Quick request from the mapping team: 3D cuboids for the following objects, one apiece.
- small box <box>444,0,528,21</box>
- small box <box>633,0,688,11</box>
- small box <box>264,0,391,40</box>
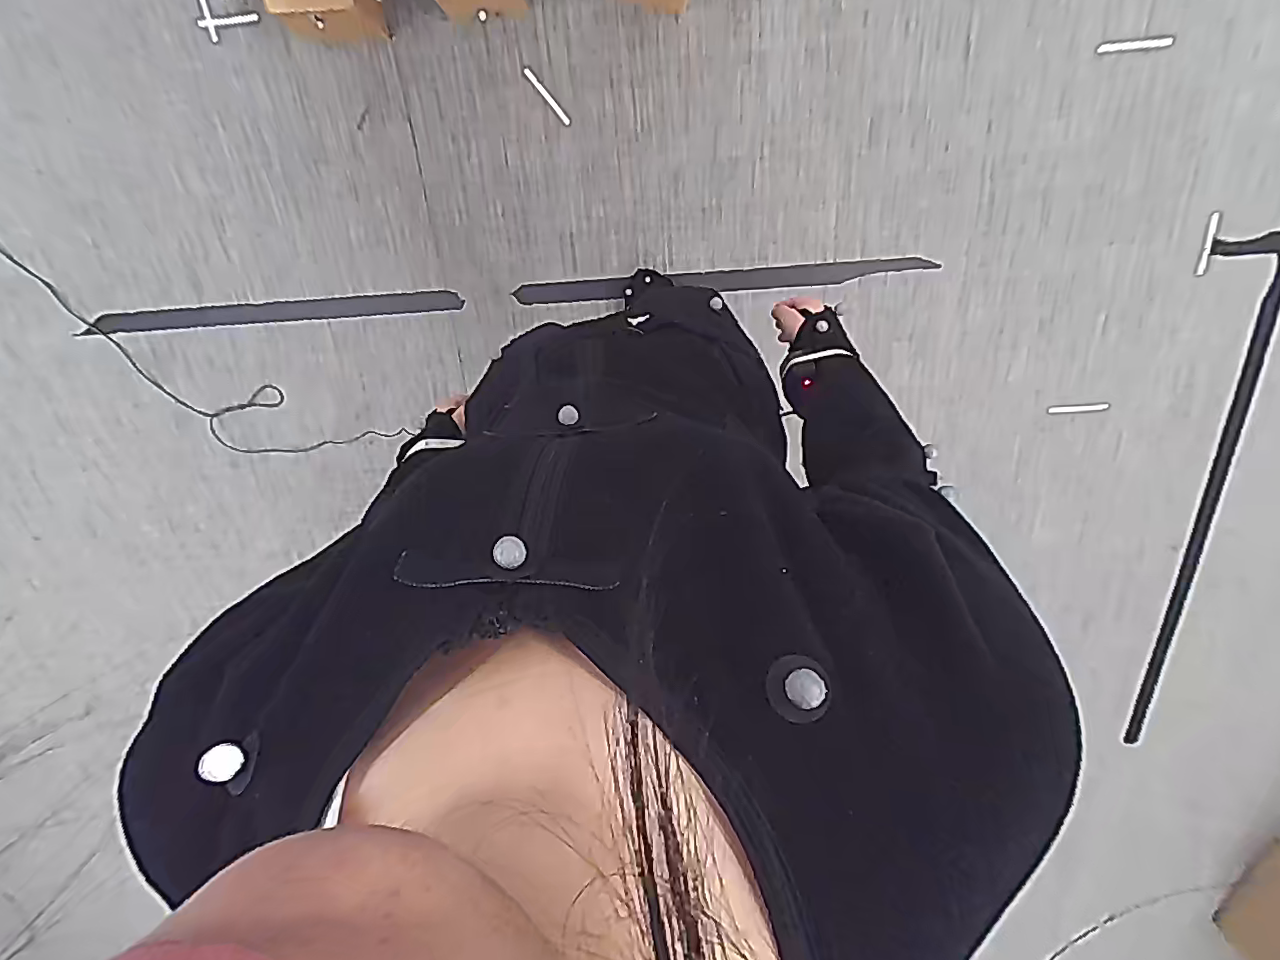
[{"bbox_3d":[-0.325,-1.040,1.050,0.168,0.176,0.179,-4,112,3],"label":"small box"},{"bbox_3d":[0.032,-1.049,1.040,0.179,0.176,0.168,12,112,-2],"label":"small box"},{"bbox_3d":[-0.628,-1.003,1.073,0.179,0.176,0.168,-2,112,1],"label":"small box"}]
